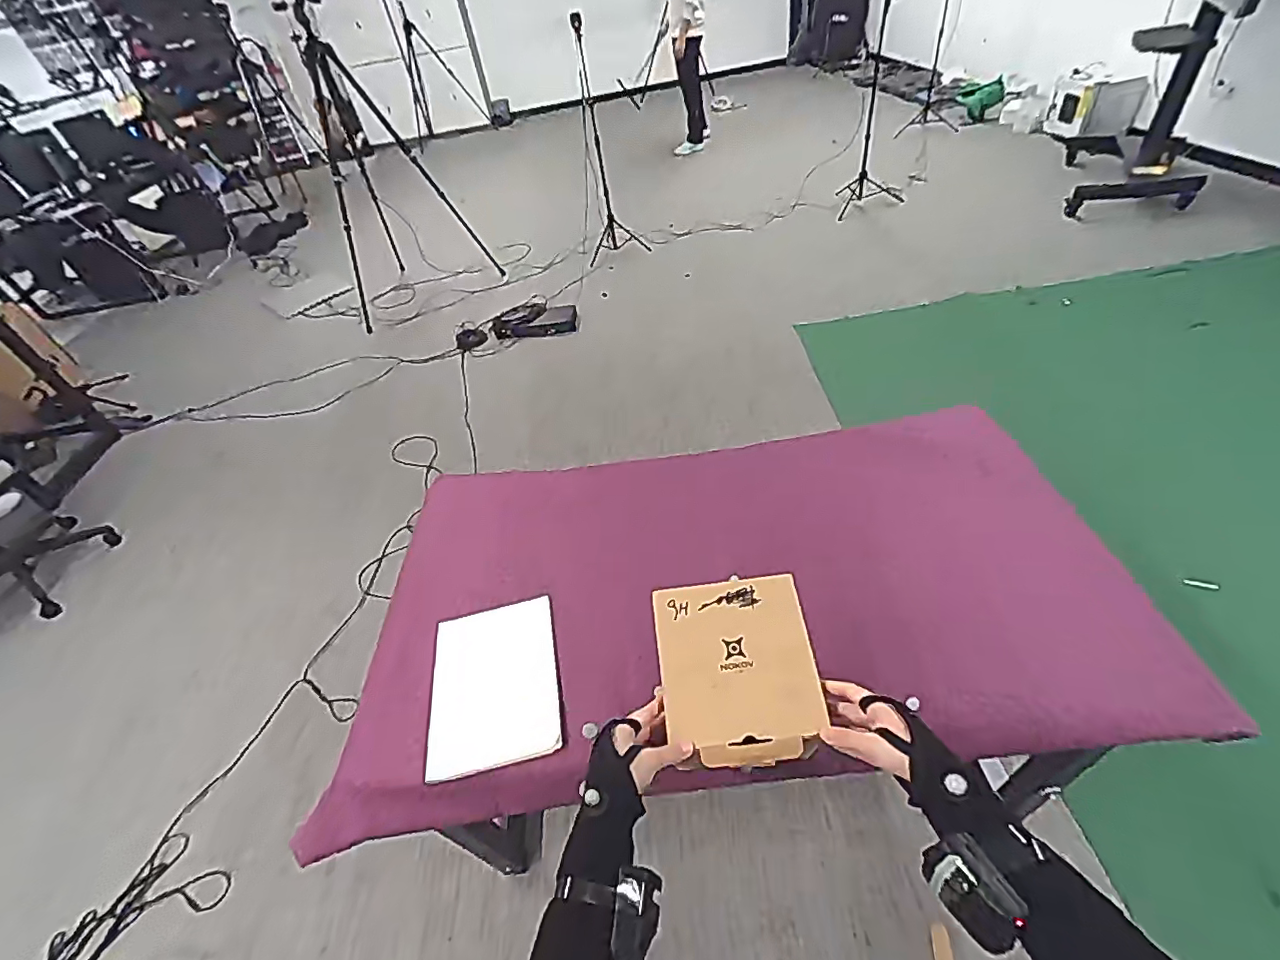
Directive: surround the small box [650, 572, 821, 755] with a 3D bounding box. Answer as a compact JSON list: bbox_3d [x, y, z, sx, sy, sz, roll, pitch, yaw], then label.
[{"bbox_3d":[0.108,0.232,0.660,0.168,0.176,0.179,-7,57,3],"label":"small box"}]
